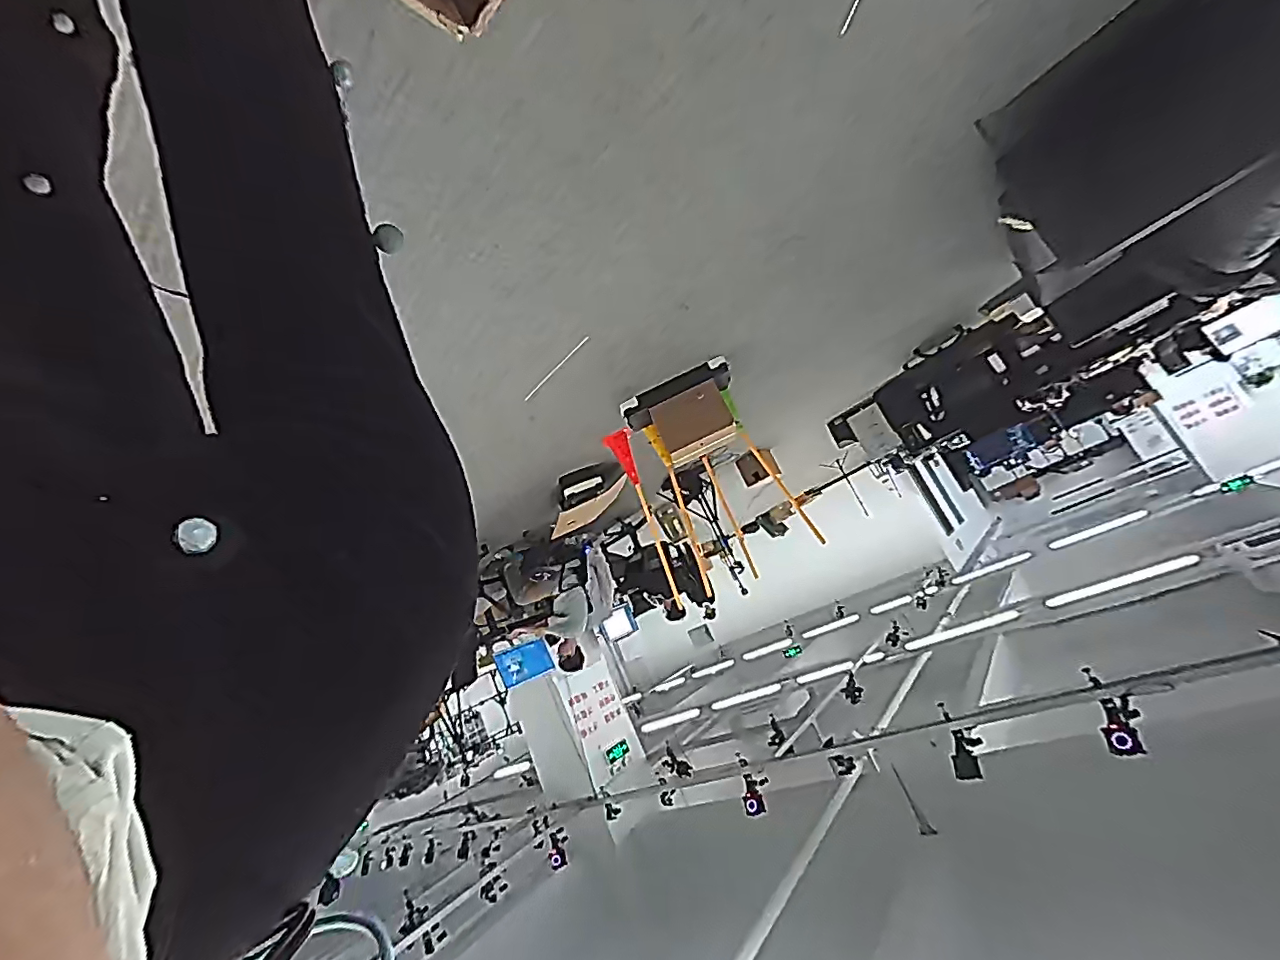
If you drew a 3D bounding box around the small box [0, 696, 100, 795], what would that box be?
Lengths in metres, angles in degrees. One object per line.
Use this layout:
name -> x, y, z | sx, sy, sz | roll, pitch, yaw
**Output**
small box -> -1.583, 0.706, 1.448 | 0.179, 0.176, 0.168 | -8, 159, -48
